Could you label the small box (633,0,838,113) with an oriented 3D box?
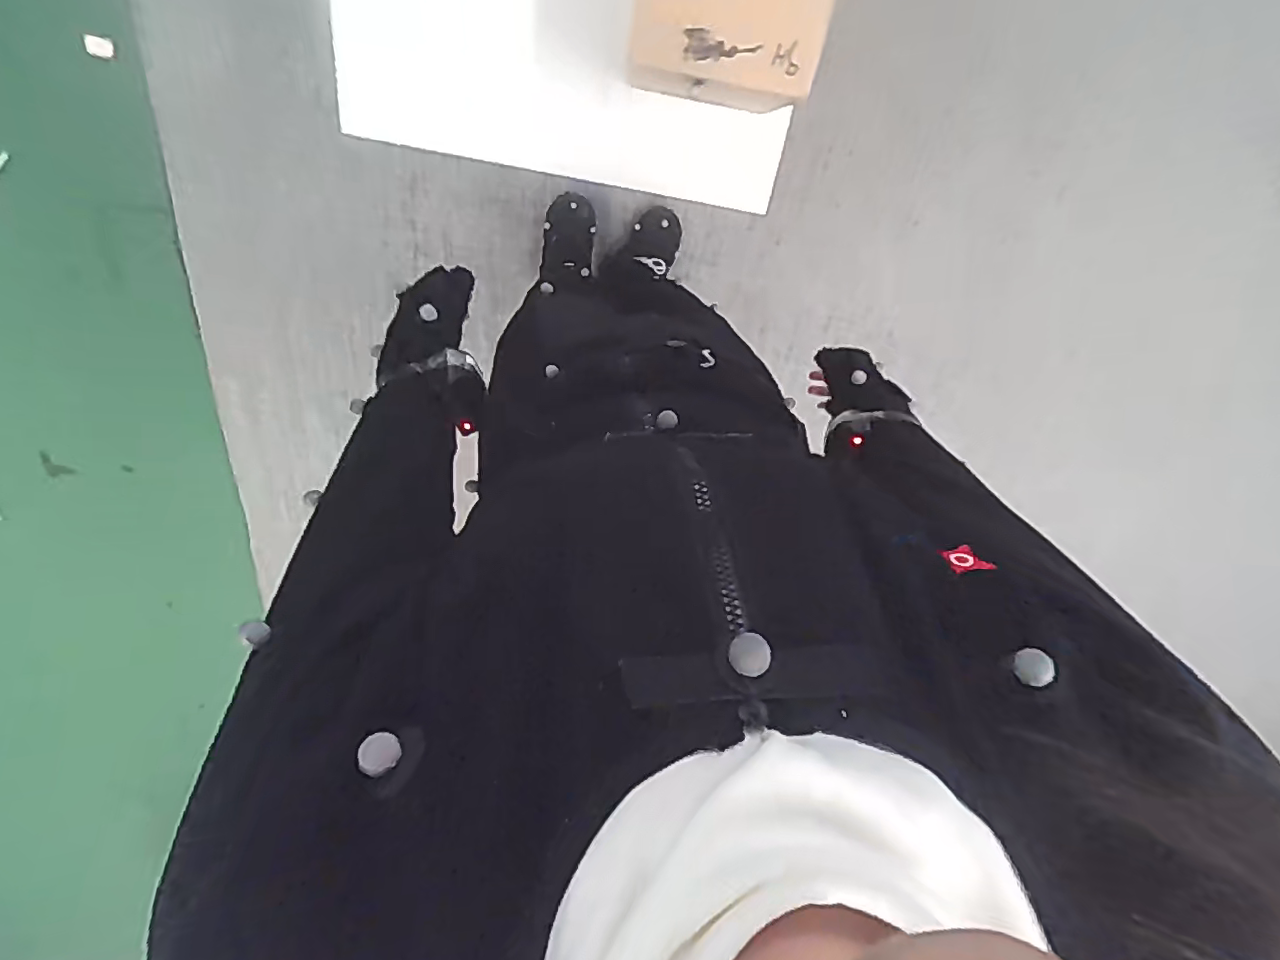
[{"bbox_3d":[0.086,-0.466,0.504,0.168,0.176,0.179,7,120,-5],"label":"small box"}]
